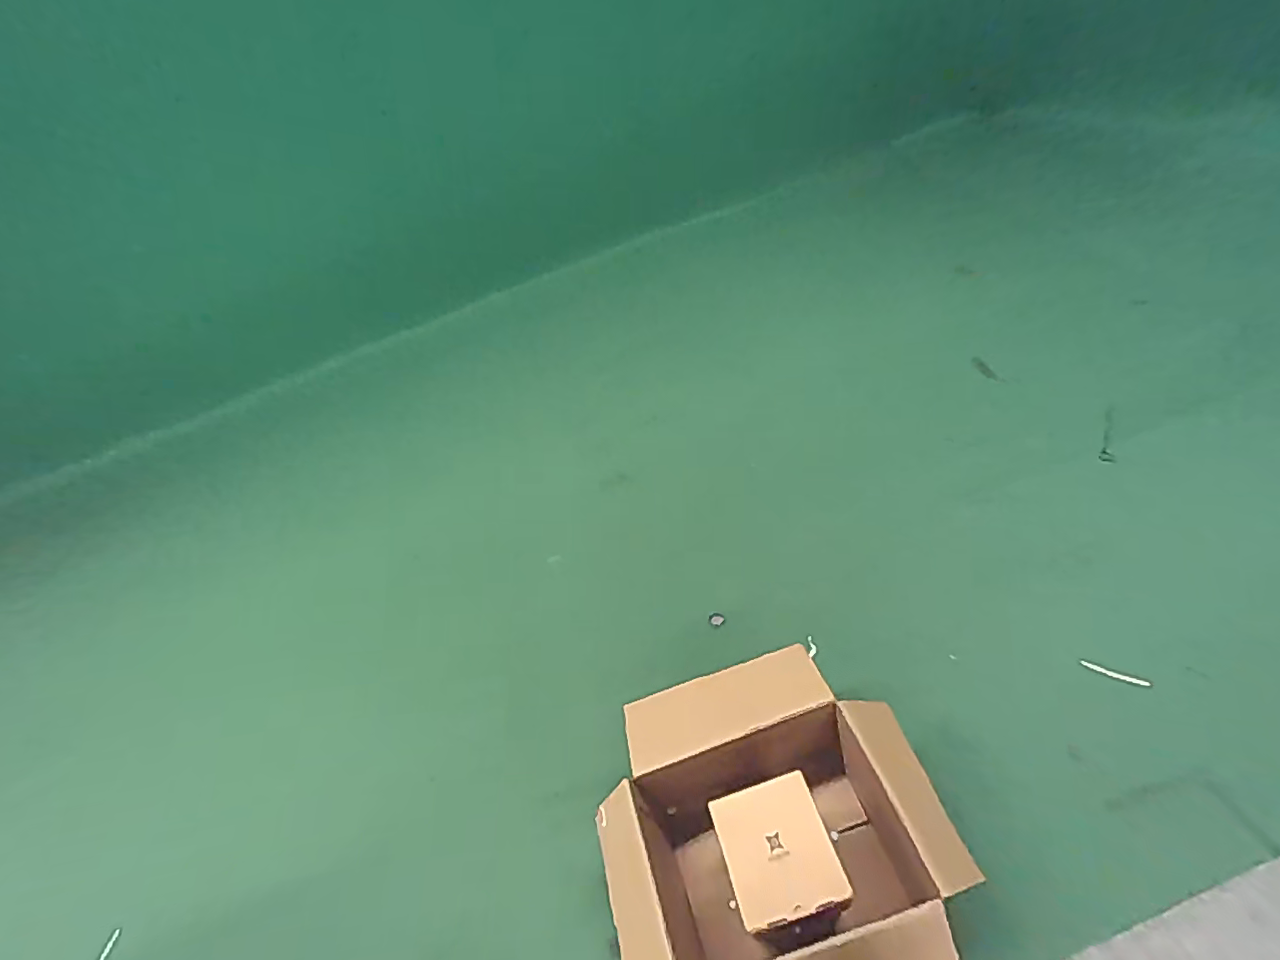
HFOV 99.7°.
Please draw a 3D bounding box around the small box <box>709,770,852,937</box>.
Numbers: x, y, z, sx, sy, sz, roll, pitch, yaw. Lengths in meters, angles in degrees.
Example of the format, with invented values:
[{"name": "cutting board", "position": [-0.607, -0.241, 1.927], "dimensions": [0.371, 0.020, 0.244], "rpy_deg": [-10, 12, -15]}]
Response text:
[{"name": "small box", "position": [0.225, 0.613, 0.887], "dimensions": [0.168, 0.176, 0.179], "rpy_deg": [-19, 46, -1]}]
